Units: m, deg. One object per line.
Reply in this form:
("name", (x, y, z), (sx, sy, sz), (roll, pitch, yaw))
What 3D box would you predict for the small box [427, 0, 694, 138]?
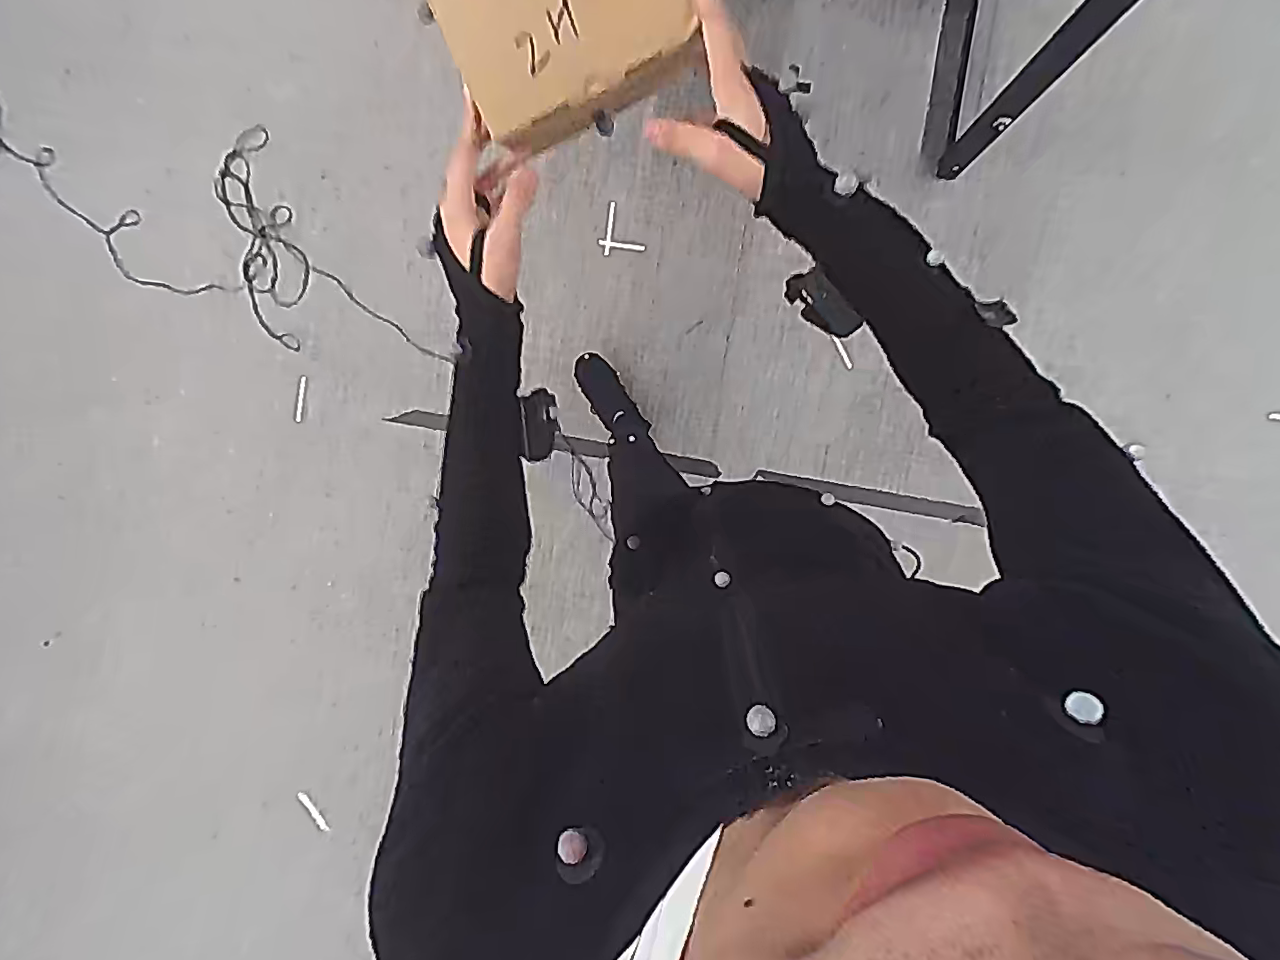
("small box", (-0.073, -0.390, 0.404), (0.168, 0.176, 0.179), (-21, 116, 9))
